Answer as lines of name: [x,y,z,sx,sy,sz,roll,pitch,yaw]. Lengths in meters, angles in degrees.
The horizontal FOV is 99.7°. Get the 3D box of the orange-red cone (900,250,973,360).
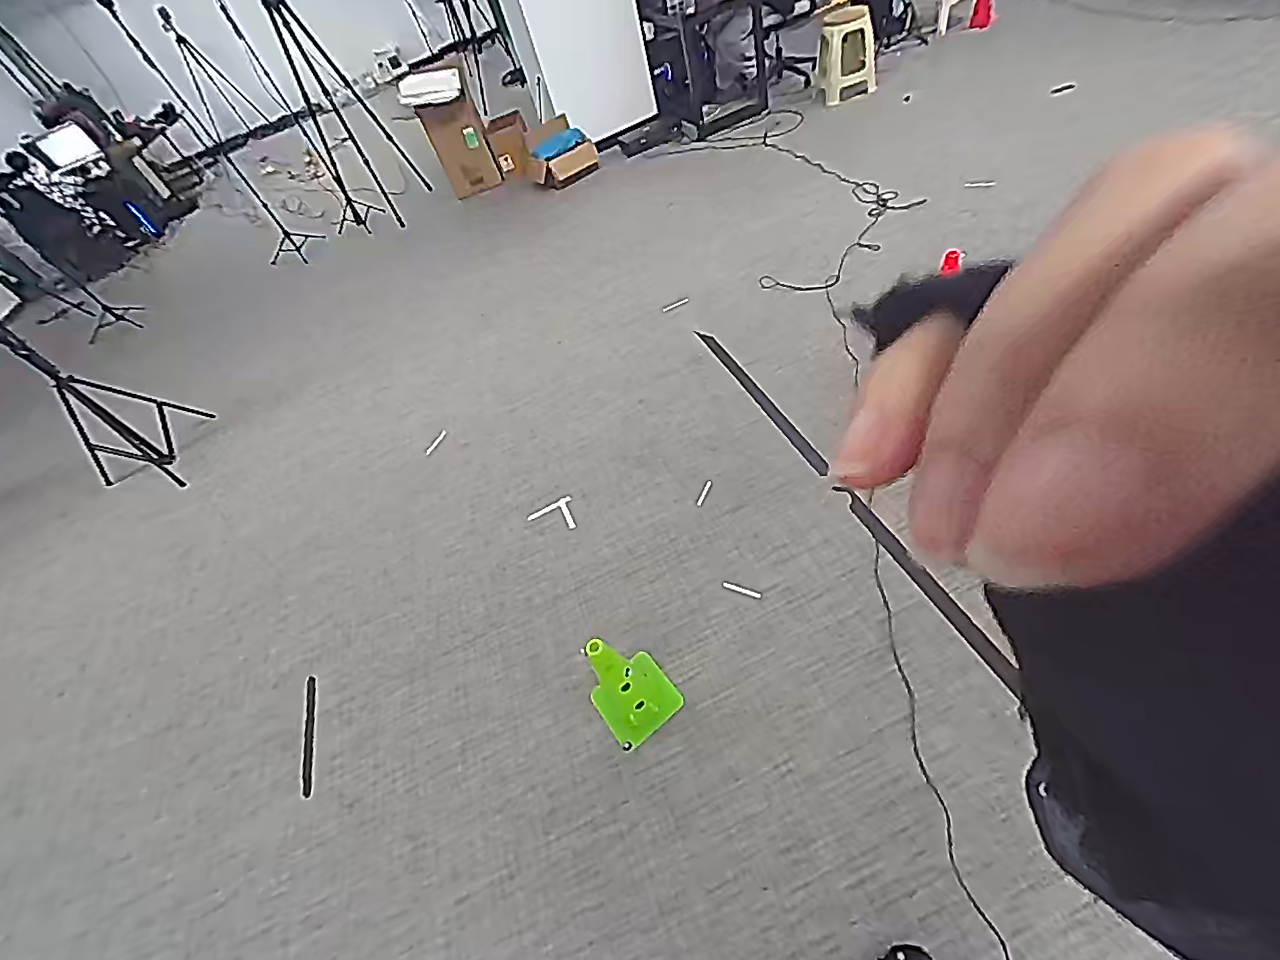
orange-red cone: [1.074,-0.640,1.915,0.198,0.360,0.199,-21,48,2]

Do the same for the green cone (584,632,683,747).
green cone: [-0.055,0.479,1.346,0.200,0.368,0.202,-37,47,-14]
